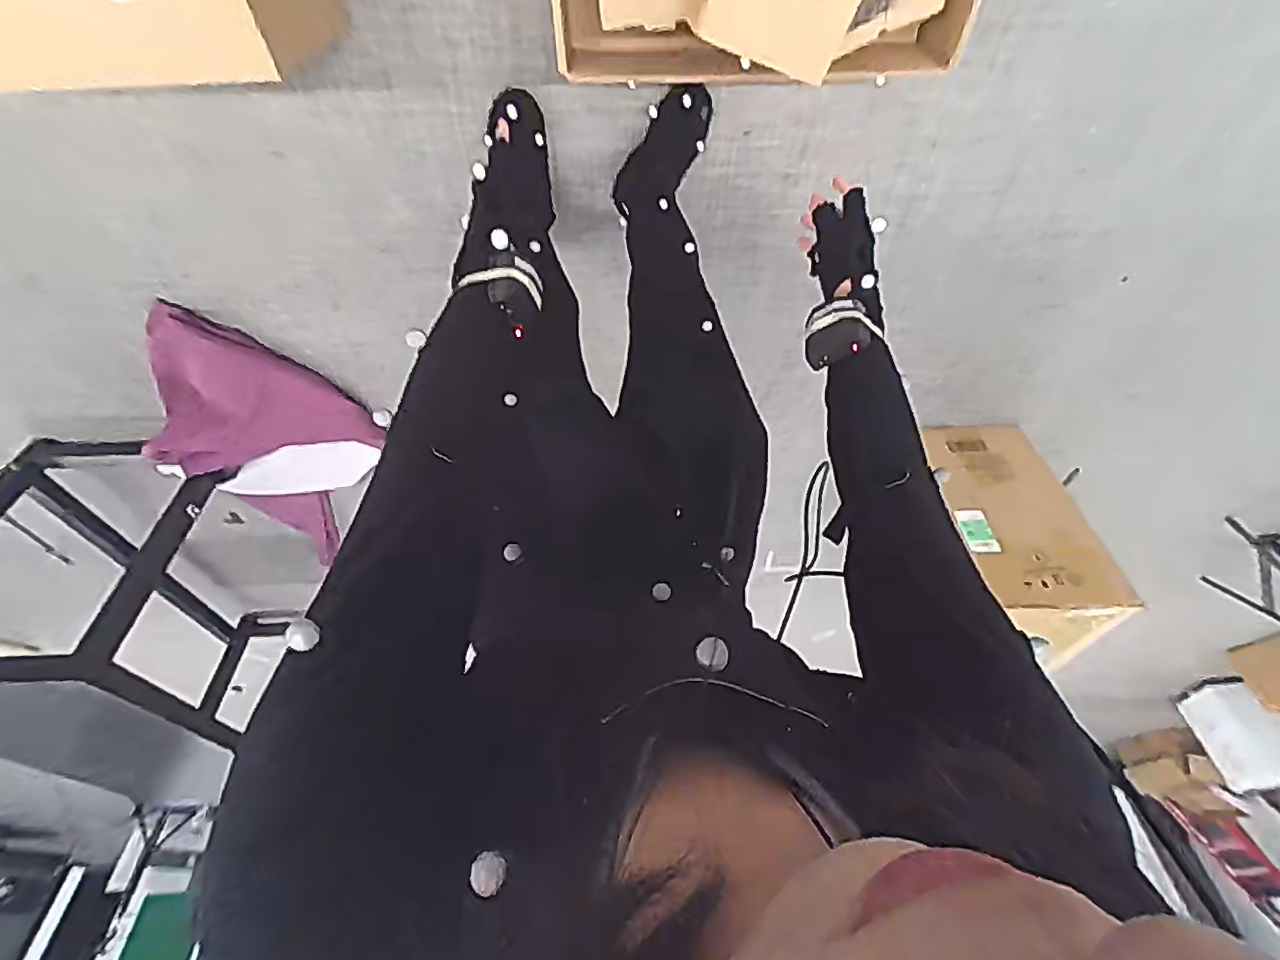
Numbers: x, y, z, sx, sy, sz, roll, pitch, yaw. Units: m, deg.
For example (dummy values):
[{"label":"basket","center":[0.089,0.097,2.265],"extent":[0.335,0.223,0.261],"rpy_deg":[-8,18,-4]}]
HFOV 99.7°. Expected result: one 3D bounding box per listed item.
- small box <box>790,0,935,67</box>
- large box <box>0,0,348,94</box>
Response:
[{"label":"small box","center":[0.311,-0.752,0.781],"extent":[0.168,0.176,0.179],"rpy_deg":[-16,136,16]},{"label":"large box","center":[-0.678,-0.734,0.694],"extent":[0.408,0.320,0.320],"rpy_deg":[-4,139,-1]}]
